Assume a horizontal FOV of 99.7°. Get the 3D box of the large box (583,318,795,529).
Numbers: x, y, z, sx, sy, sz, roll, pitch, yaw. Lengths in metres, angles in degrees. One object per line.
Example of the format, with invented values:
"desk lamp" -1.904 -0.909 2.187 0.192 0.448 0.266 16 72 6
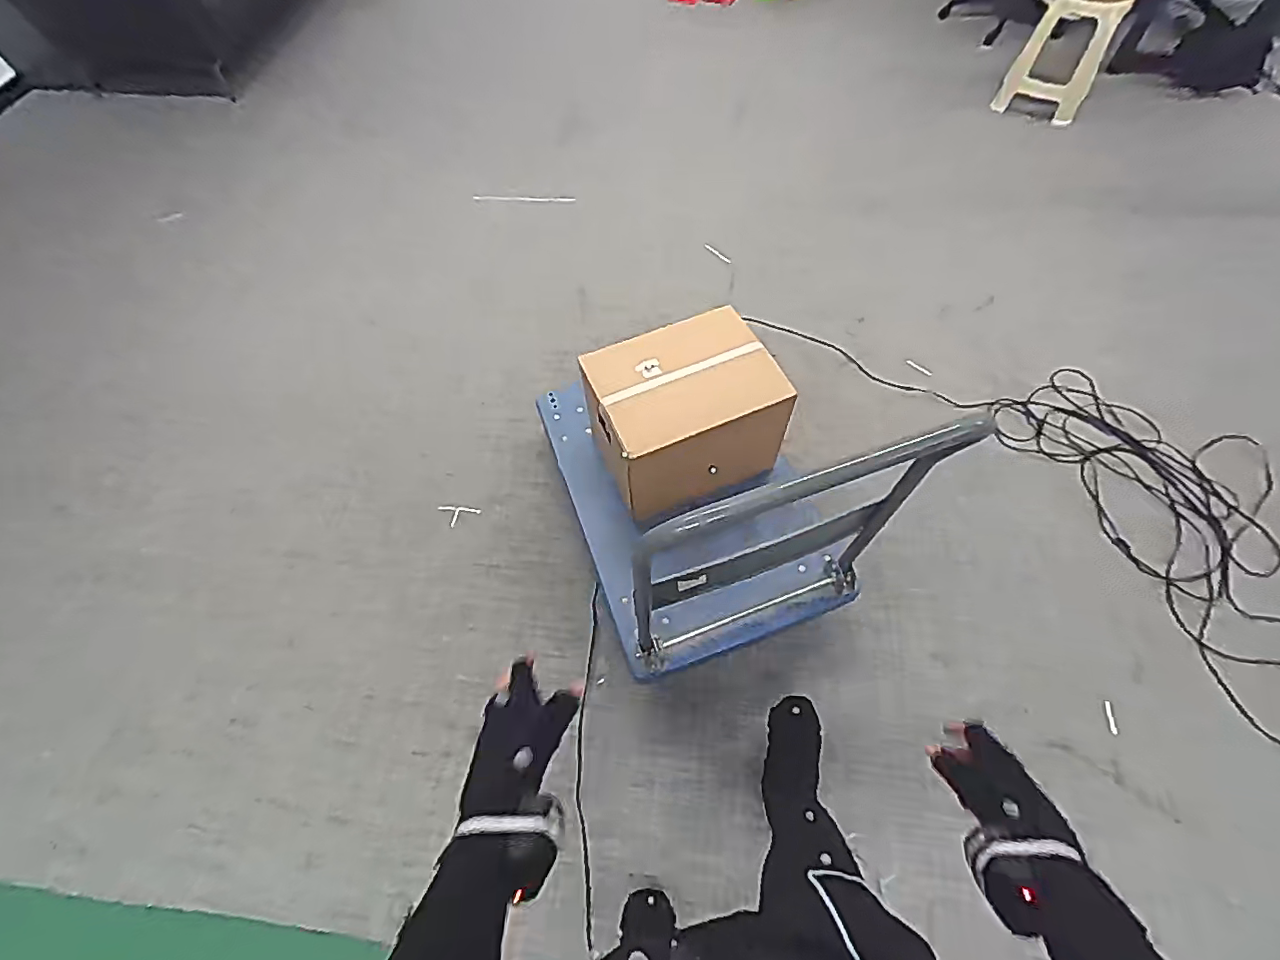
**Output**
"large box" 0.112 -0.135 1.359 0.408 0.320 0.320 -22 60 -10
